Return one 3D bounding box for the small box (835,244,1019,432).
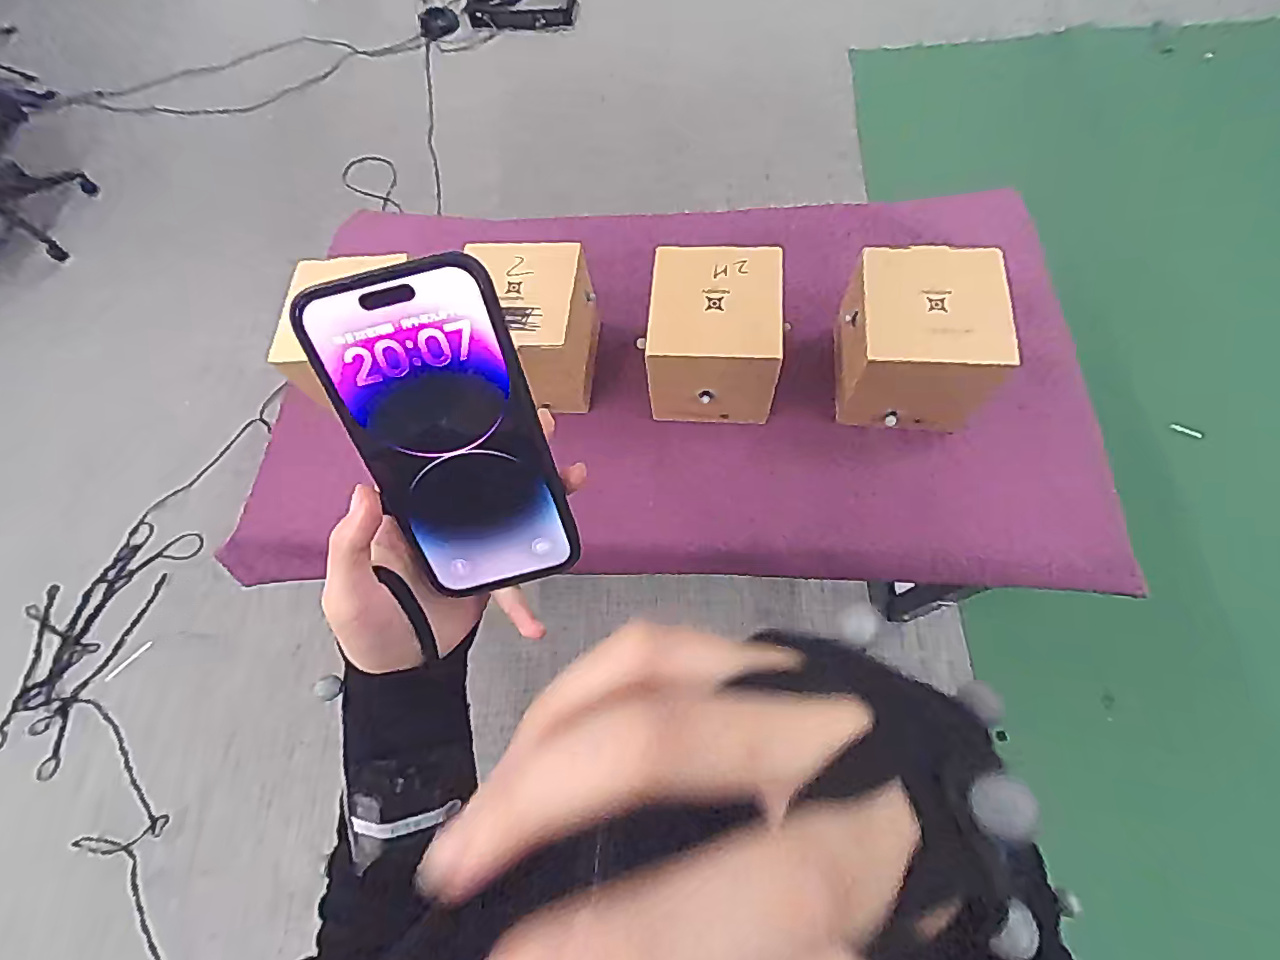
[{"bbox_3d":[0.362,-0.184,0.719,0.168,0.176,0.179,5,68,9],"label":"small box"}]

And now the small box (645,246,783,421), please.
[{"bbox_3d":[0.103,-0.196,0.750,0.168,0.176,0.179,3,67,7],"label":"small box"}]

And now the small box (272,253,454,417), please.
[{"bbox_3d":[-0.394,-0.204,0.805,0.168,0.176,0.179,-2,66,5],"label":"small box"}]
